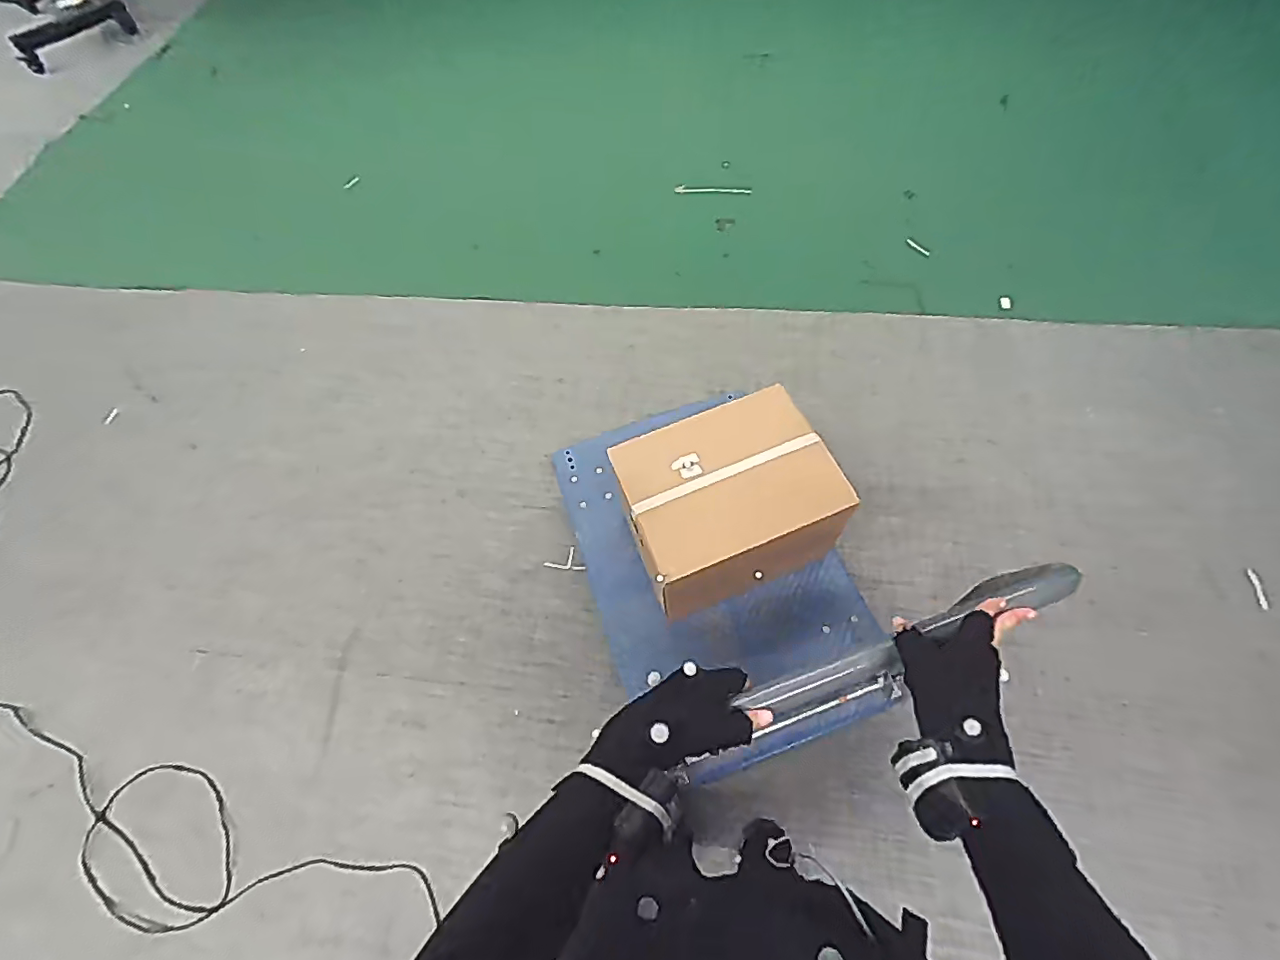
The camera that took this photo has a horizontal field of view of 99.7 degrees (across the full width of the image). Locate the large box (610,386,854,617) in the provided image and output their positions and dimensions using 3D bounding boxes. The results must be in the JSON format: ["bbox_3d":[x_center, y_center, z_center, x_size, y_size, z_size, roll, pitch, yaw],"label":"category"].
[{"bbox_3d":[0.190,0.061,1.216,0.408,0.320,0.320,-24,63,-5],"label":"large box"}]
